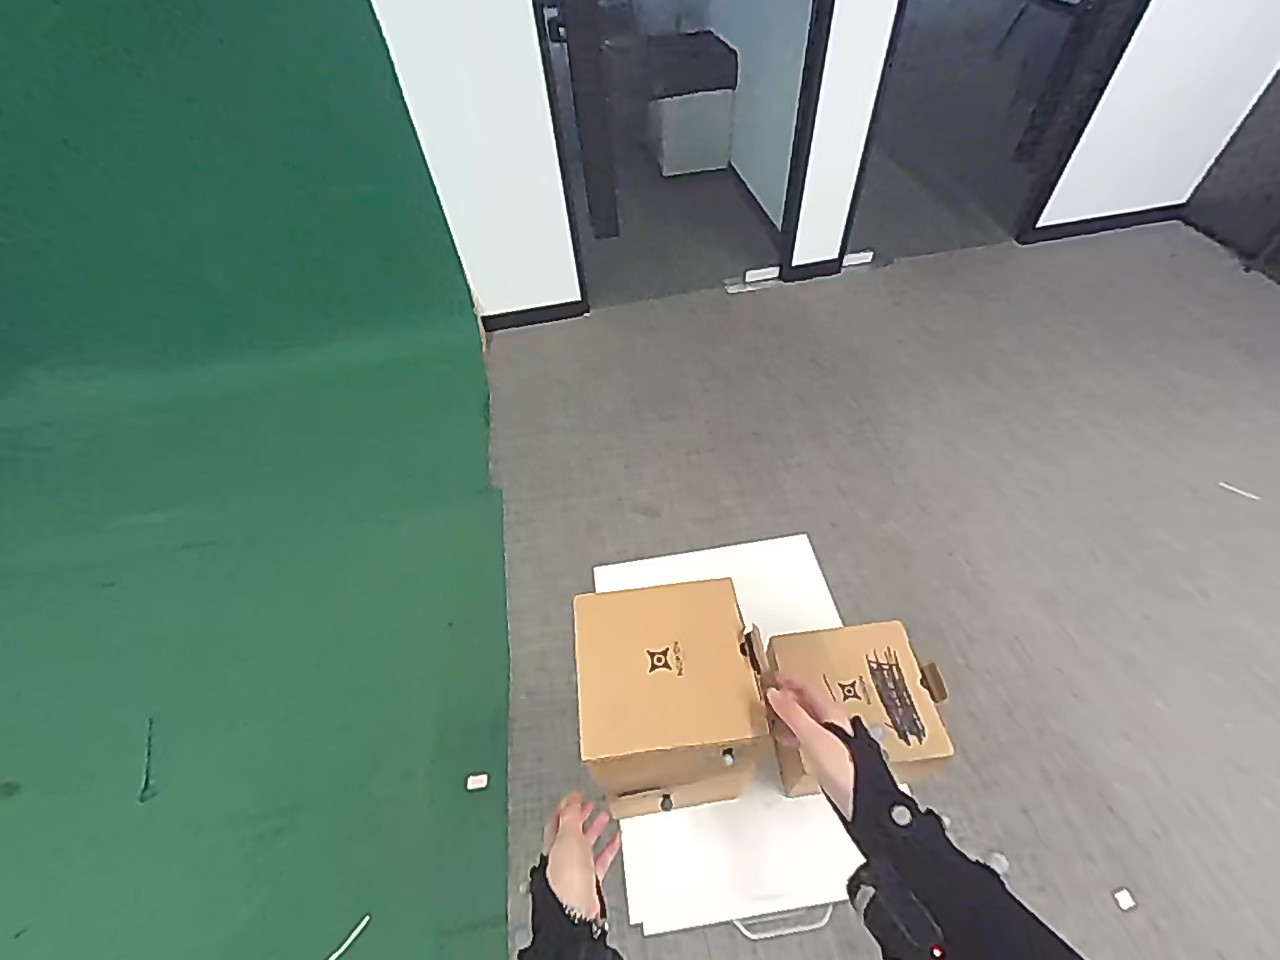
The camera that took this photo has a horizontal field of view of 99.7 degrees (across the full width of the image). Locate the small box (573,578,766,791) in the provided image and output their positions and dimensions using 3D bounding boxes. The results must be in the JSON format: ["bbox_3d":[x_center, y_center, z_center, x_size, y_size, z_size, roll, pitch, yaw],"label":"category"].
[{"bbox_3d":[0.024,0.230,0.600,0.179,0.176,0.168,-5,50,-4],"label":"small box"}]

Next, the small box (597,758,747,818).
[{"bbox_3d":[0.032,0.336,0.724,0.179,0.176,0.168,-8,51,-4],"label":"small box"}]
